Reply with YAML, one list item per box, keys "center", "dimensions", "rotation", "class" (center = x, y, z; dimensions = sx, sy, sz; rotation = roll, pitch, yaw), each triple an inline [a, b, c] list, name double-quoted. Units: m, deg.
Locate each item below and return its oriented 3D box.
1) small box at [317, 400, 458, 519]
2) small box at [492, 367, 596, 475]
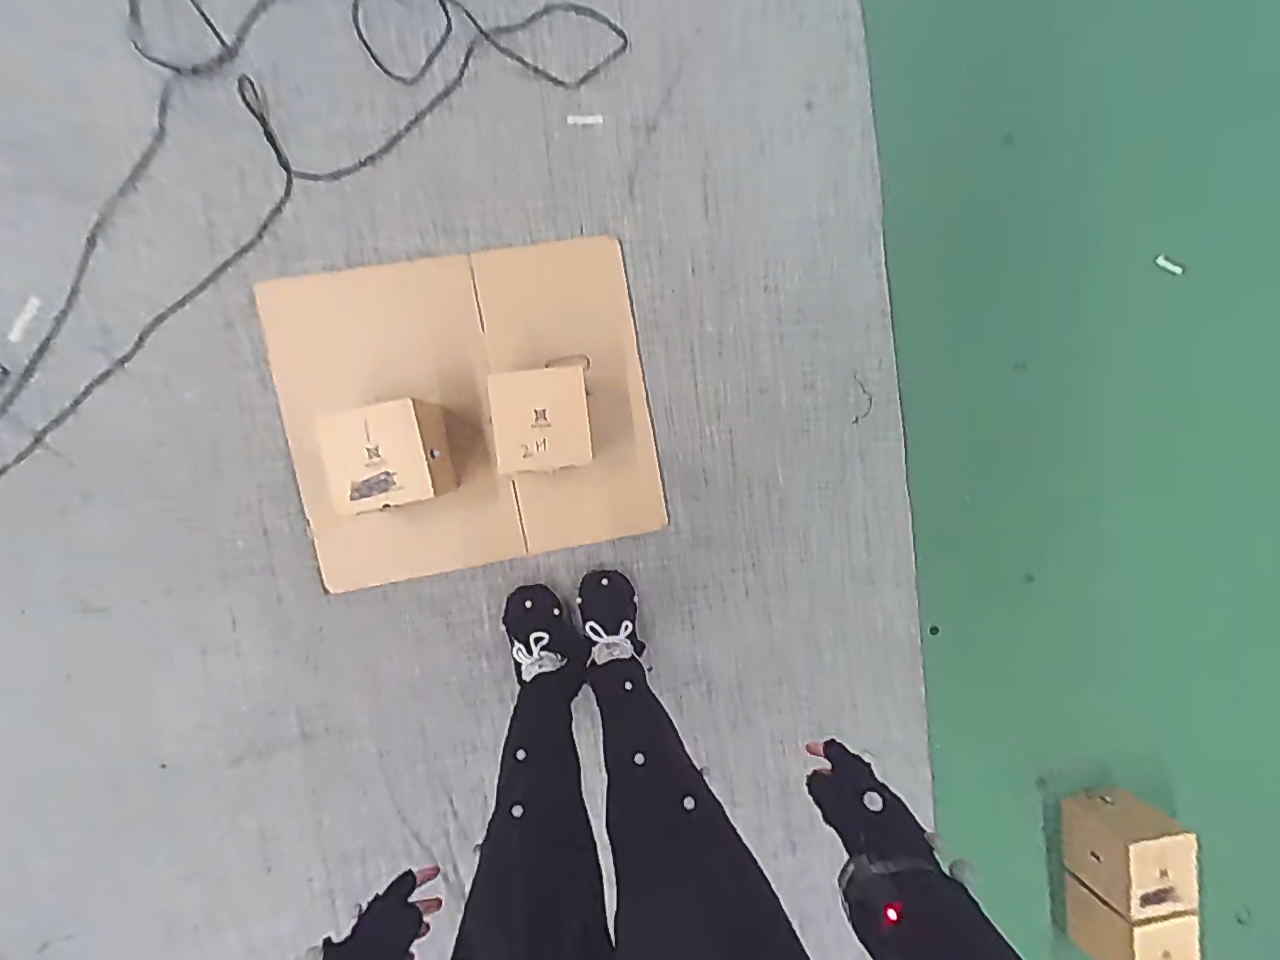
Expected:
- center: [-0.444, -0.040, 0.983]
  dimensions: [0.168, 0.176, 0.179]
  rotation: [-12, 94, -6]
  class: "small box"
- center: [-0.174, -0.107, 1.013]
  dimensions: [0.168, 0.176, 0.179]
  rotation: [-6, 95, -5]
  class: "small box"
